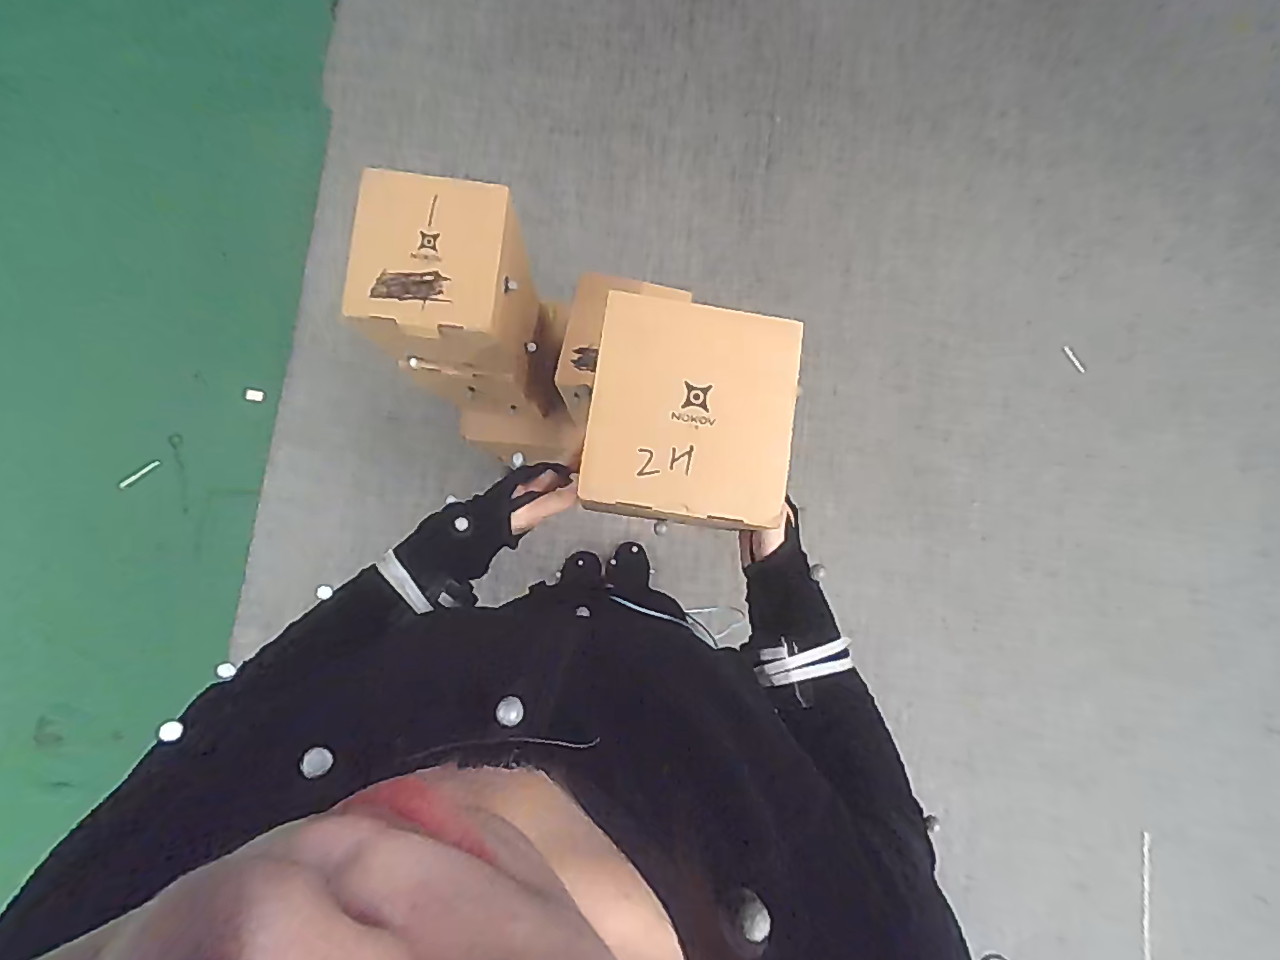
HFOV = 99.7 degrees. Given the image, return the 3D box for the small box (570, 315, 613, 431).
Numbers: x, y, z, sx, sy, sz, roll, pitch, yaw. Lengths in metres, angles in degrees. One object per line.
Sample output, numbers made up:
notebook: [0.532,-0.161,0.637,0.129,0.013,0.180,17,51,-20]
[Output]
small box: [-0.025,-0.179,1.011,0.168,0.176,0.179,13,84,1]

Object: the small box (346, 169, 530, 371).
small box: [-0.239,-0.250,0.685,0.168,0.176,0.179,6,83,-3]

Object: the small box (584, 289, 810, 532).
small box: [0.043,-0.049,0.509,0.168,0.176,0.179,8,83,-2]

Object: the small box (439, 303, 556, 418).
small box: [-0.255,-0.222,1.012,0.168,0.176,0.179,8,84,-3]
